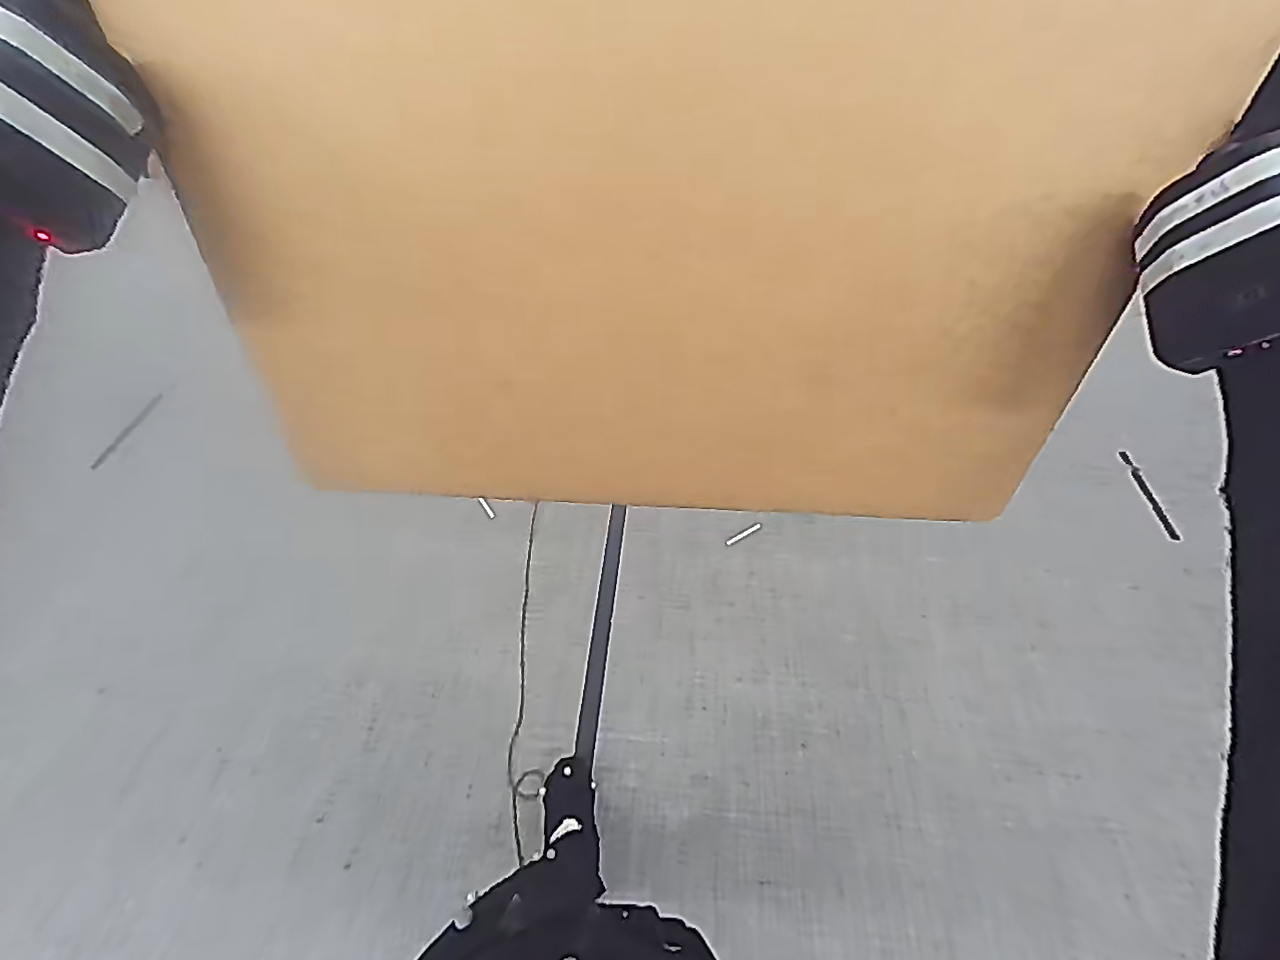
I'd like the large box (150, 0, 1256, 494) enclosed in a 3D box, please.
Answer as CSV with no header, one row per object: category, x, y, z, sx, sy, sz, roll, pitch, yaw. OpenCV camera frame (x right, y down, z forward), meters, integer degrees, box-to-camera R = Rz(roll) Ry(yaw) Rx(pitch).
large box,0.018,-0.207,0.348,0.408,0.320,0.320,4,38,-1
